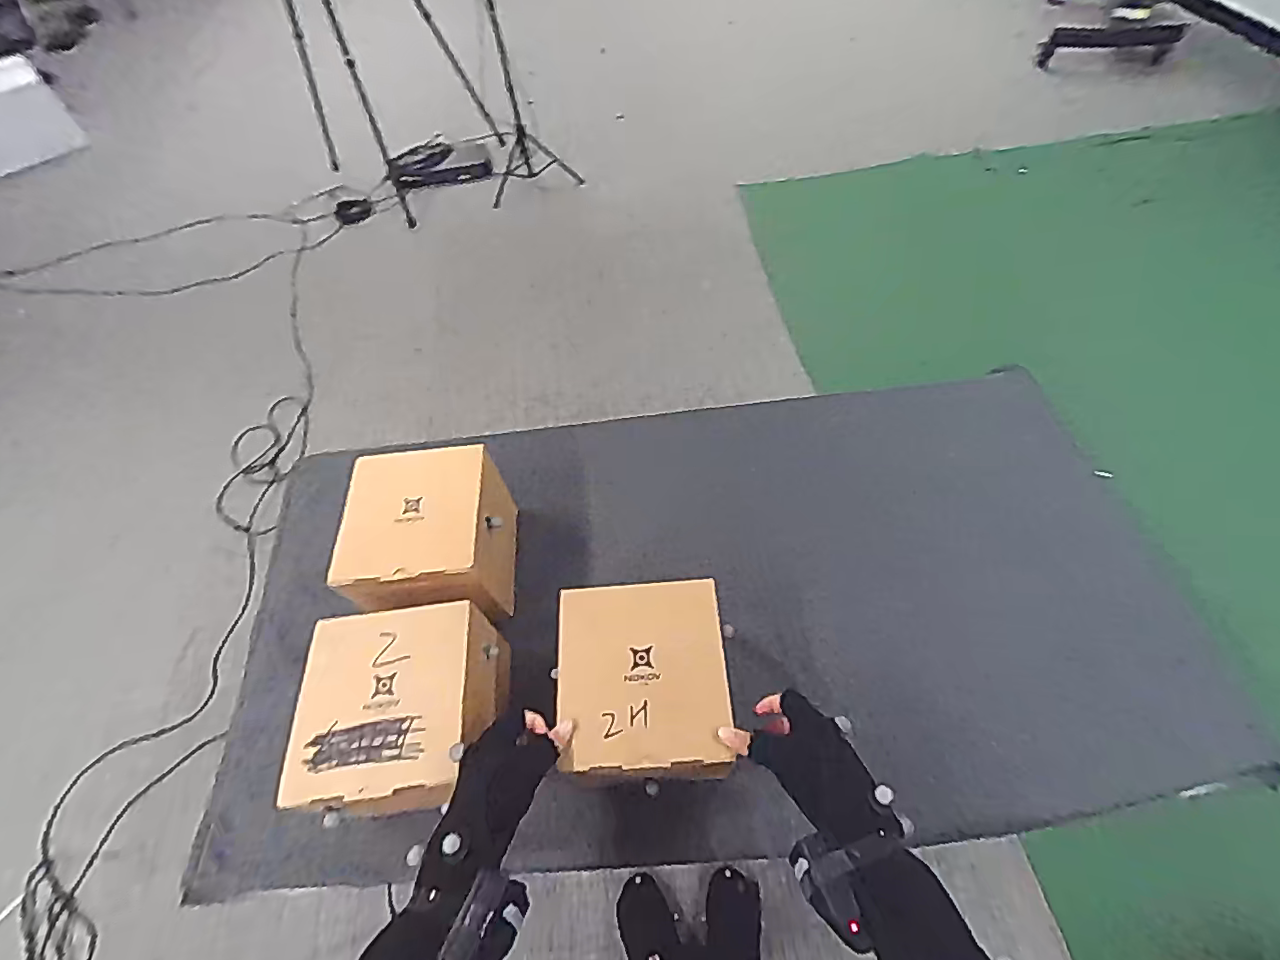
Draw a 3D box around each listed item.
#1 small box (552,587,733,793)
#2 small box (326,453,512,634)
[{"bbox_3d":[0.002,0.235,0.595,0.168,0.176,0.179,-4,57,1],"label":"small box"},{"bbox_3d":[-0.271,0.087,0.712,0.168,0.176,0.179,-6,57,0],"label":"small box"}]
